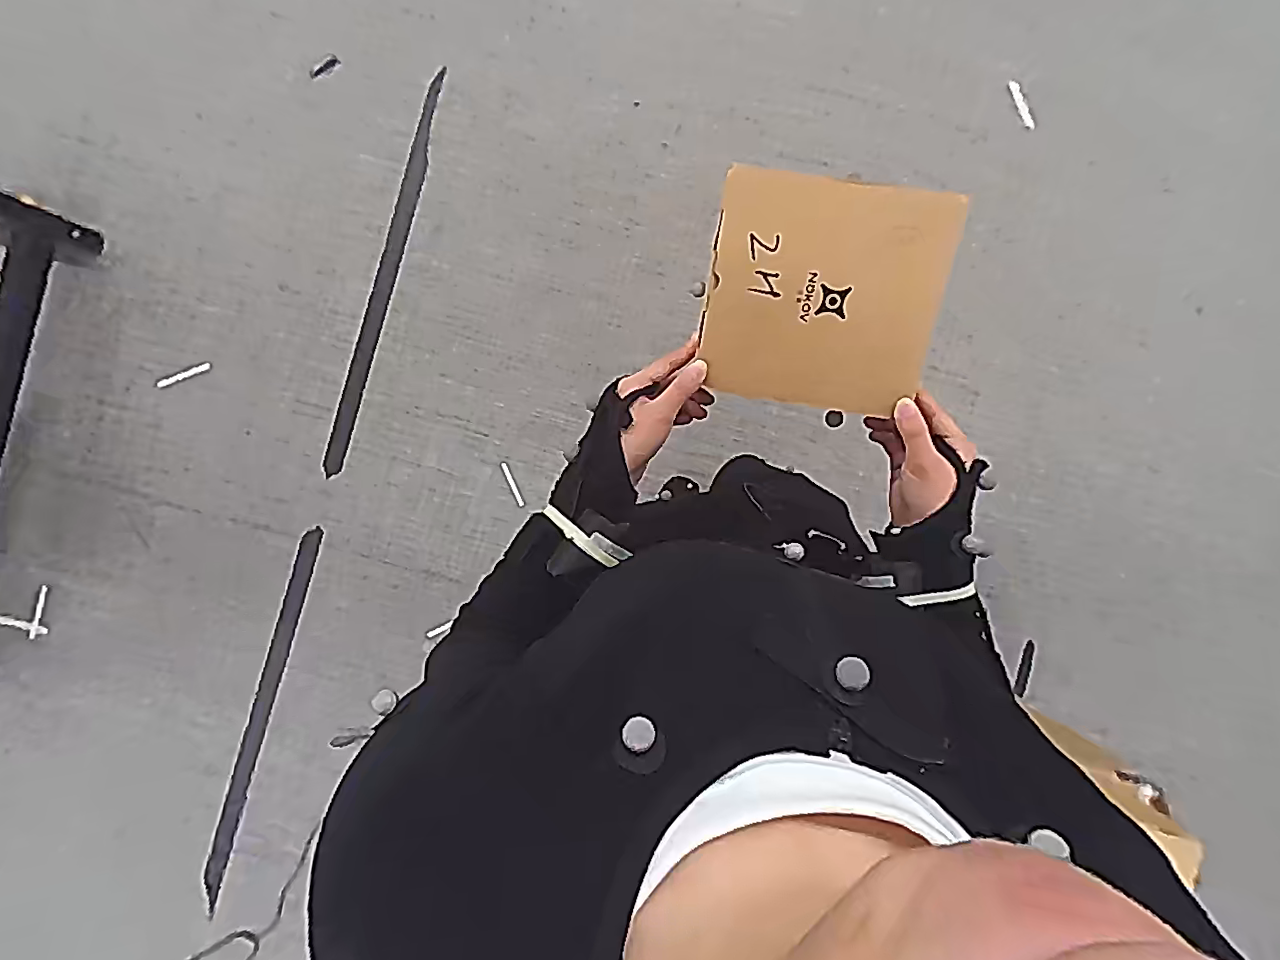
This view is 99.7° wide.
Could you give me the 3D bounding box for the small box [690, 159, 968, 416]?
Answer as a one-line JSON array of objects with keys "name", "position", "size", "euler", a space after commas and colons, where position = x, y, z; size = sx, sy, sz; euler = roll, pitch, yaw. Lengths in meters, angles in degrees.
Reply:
[{"name": "small box", "position": [0.147, -0.163, 0.488], "size": [0.179, 0.176, 0.168], "euler": [10, 105, 5]}]
